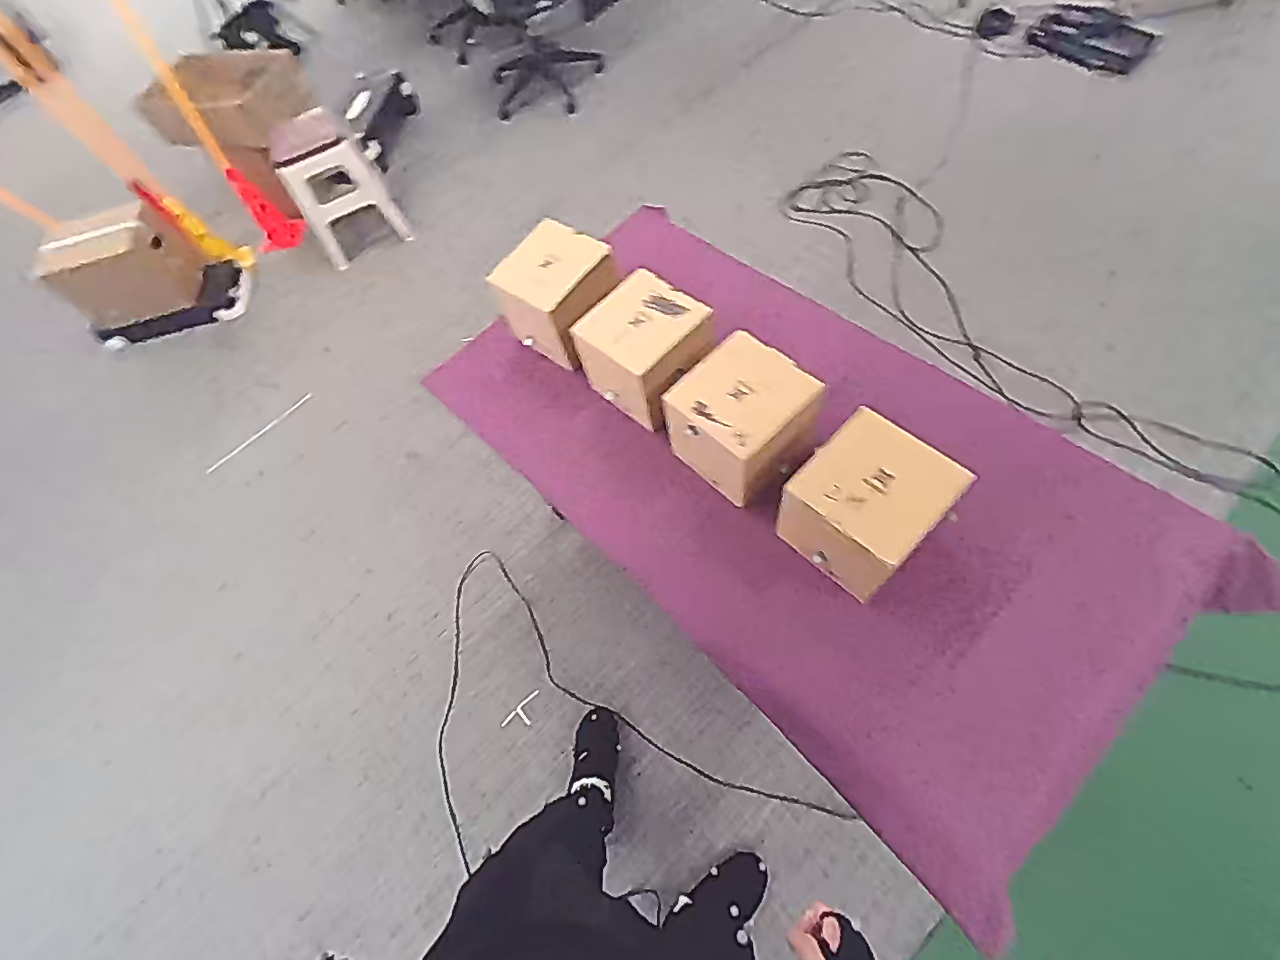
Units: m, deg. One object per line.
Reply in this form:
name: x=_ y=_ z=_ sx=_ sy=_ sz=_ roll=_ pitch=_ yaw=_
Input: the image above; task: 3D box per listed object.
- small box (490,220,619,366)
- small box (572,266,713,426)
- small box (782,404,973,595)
small box: x=-0.151 y=-0.359 z=1.051 sx=0.168 sy=0.176 sz=0.179 roll=35 pitch=75 yaw=24
small box: x=0.013 y=-0.233 z=0.957 sx=0.168 sy=0.176 sz=0.179 roll=40 pitch=77 yaw=25
small box: x=0.318 y=0.034 z=0.767 sx=0.179 sy=0.176 sz=0.168 roll=-43 pitch=64 yaw=-11
